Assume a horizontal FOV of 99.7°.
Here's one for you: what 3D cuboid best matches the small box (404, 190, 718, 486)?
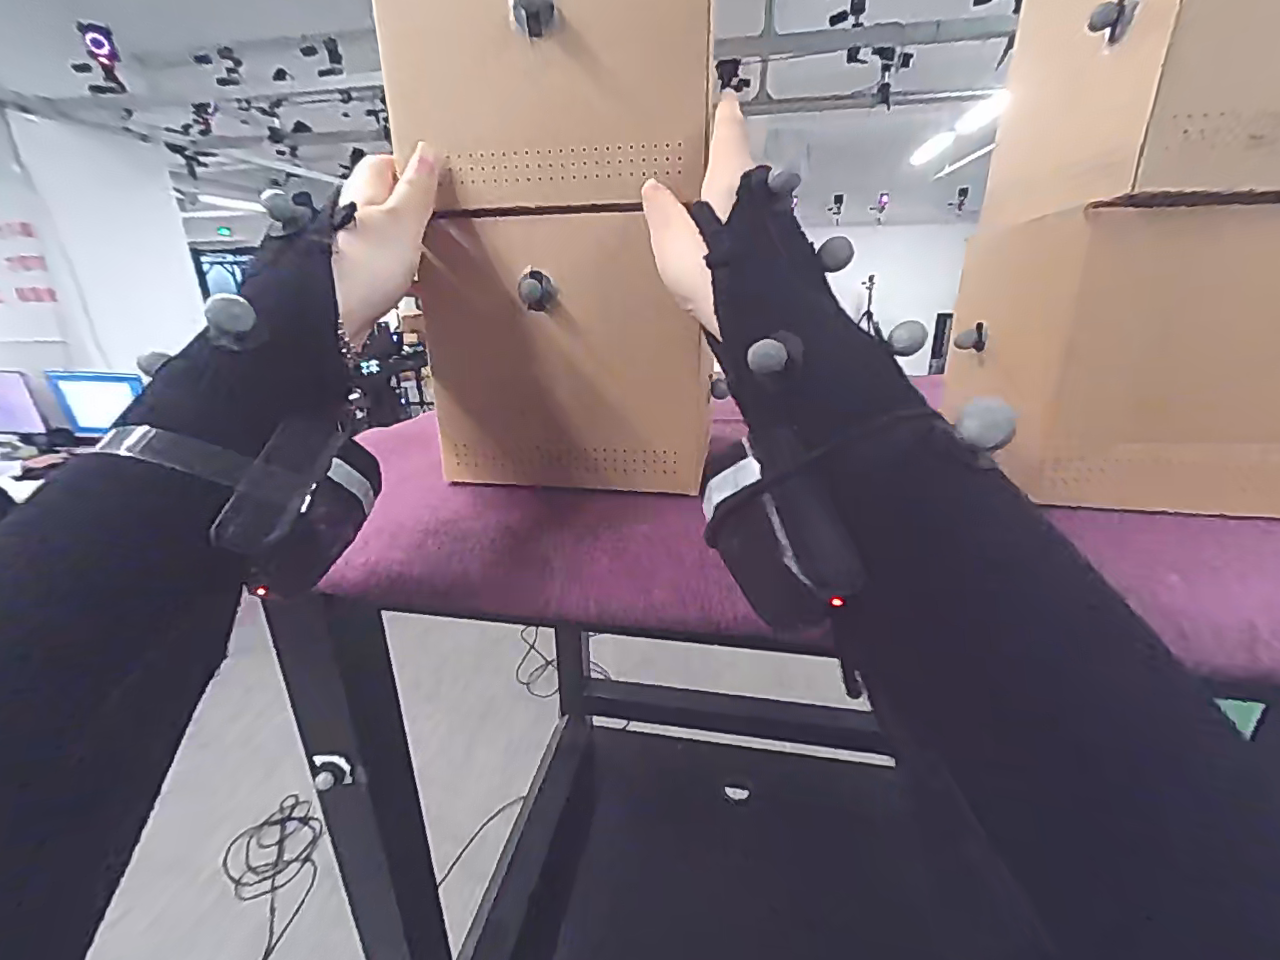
[{"bbox_3d":[-0.037,-0.100,0.394,0.179,0.176,0.168,4,20,9],"label":"small box"}]

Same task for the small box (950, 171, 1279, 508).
[{"bbox_3d":[0.323,-0.087,0.349,0.179,0.176,0.168,3,19,10],"label":"small box"}]

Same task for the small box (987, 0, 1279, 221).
[{"bbox_3d":[0.327,-0.240,0.296,0.168,0.176,0.179,4,18,7],"label":"small box"}]
